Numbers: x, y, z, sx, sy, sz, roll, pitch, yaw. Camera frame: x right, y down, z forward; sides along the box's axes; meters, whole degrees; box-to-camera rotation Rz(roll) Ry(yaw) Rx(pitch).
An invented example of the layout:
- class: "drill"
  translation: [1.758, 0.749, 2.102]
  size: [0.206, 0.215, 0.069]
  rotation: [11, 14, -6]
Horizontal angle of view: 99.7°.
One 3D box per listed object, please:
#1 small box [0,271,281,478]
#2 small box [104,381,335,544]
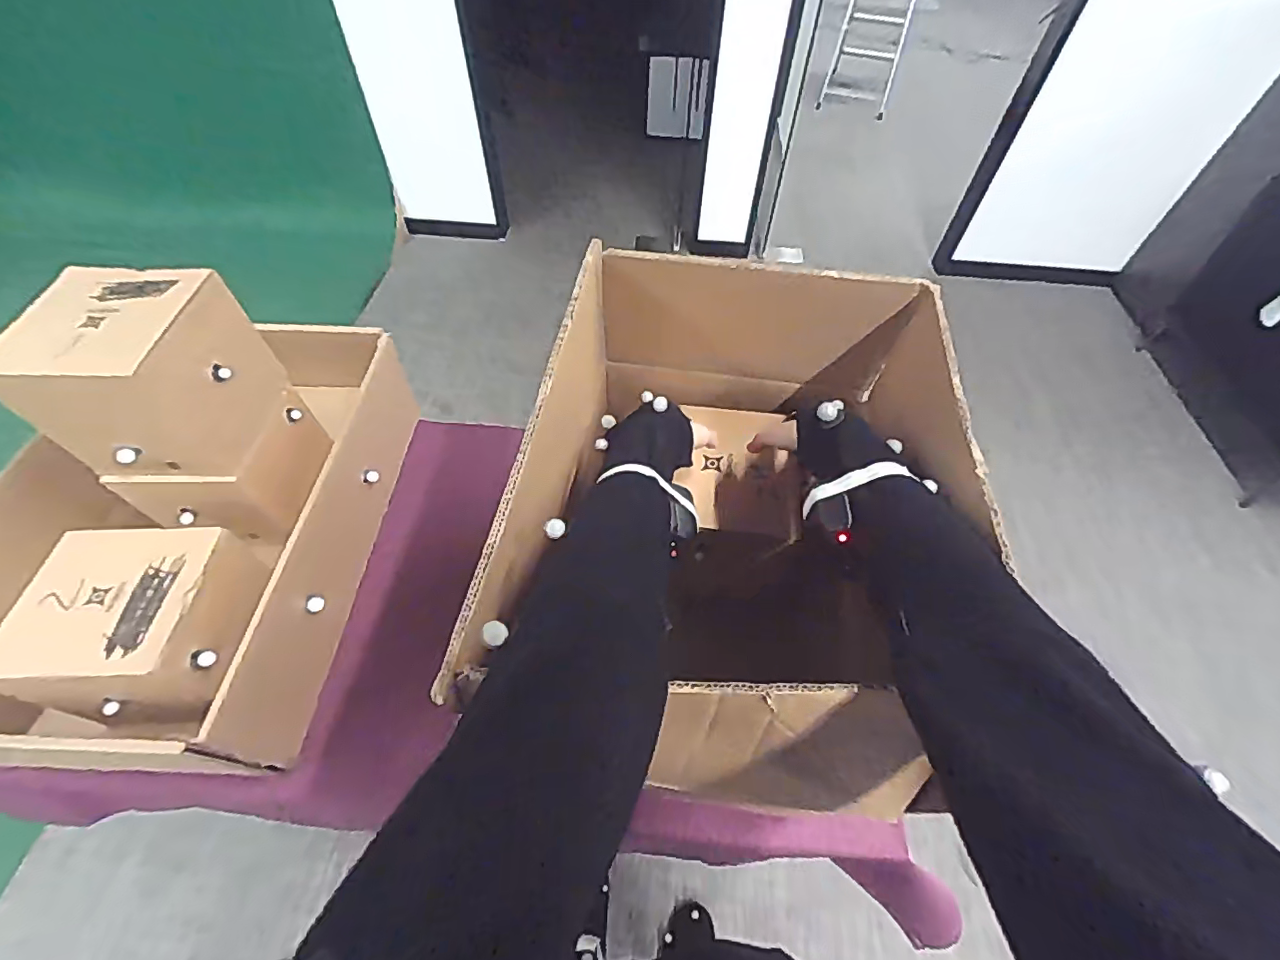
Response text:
- class: "small box"
  translation: [-0.566, -0.121, 0.635]
  size: [0.168, 0.176, 0.179]
  rotation: [0, 56, 0]
- class: "small box"
  translation: [-0.568, -0.019, 0.765]
  size: [0.168, 0.176, 0.179]
  rotation: [0, 55, 0]
